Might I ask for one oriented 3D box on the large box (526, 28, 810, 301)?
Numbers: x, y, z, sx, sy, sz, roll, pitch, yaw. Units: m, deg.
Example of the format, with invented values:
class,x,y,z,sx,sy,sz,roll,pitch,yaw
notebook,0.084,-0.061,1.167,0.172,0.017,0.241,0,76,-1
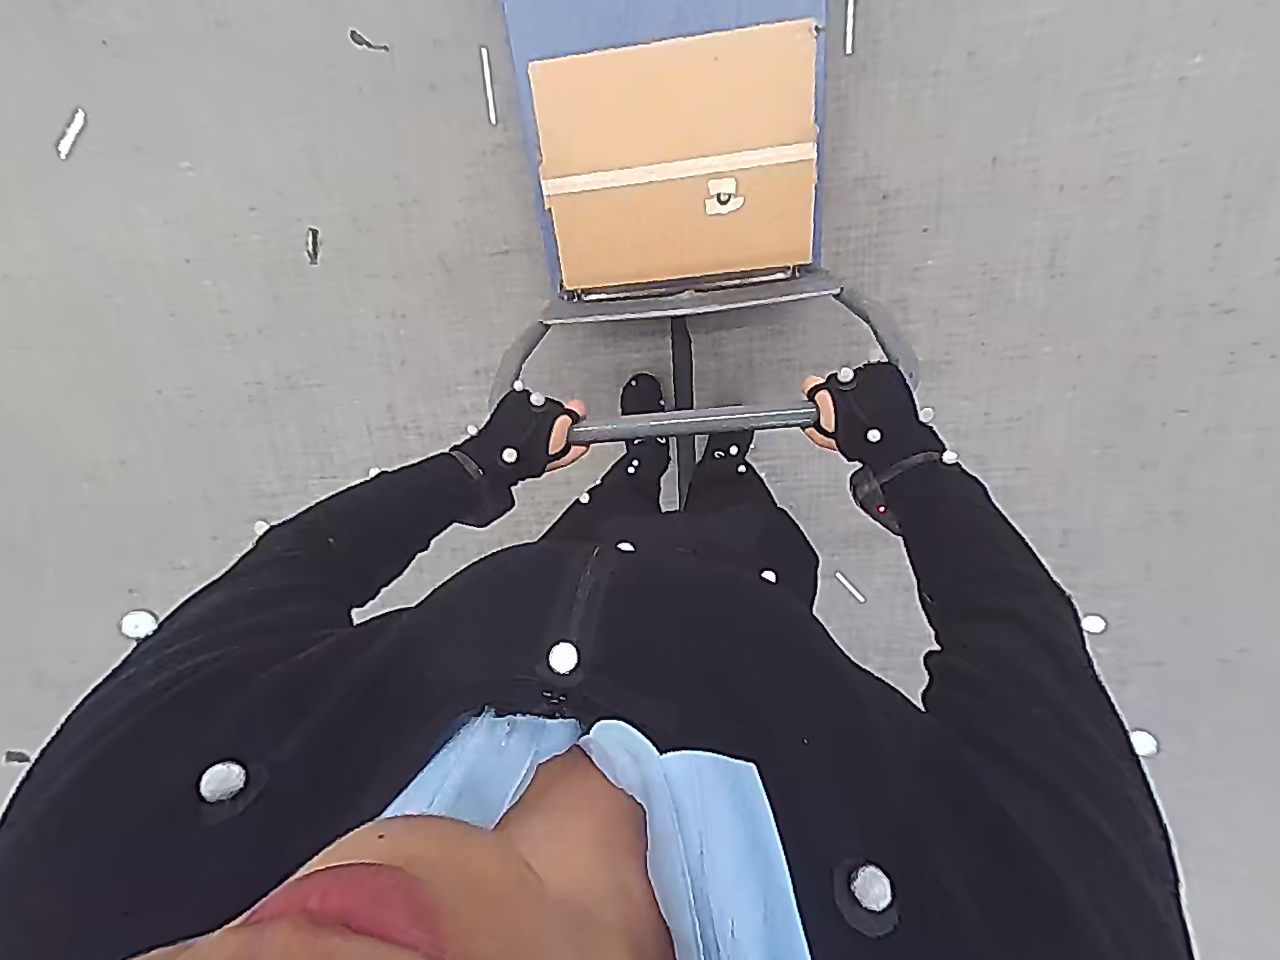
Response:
class,x,y,z,sx,sy,sz,roll,pitch,yaw
large box,0.057,-0.519,0.945,0.408,0.320,0.320,-5,117,5
